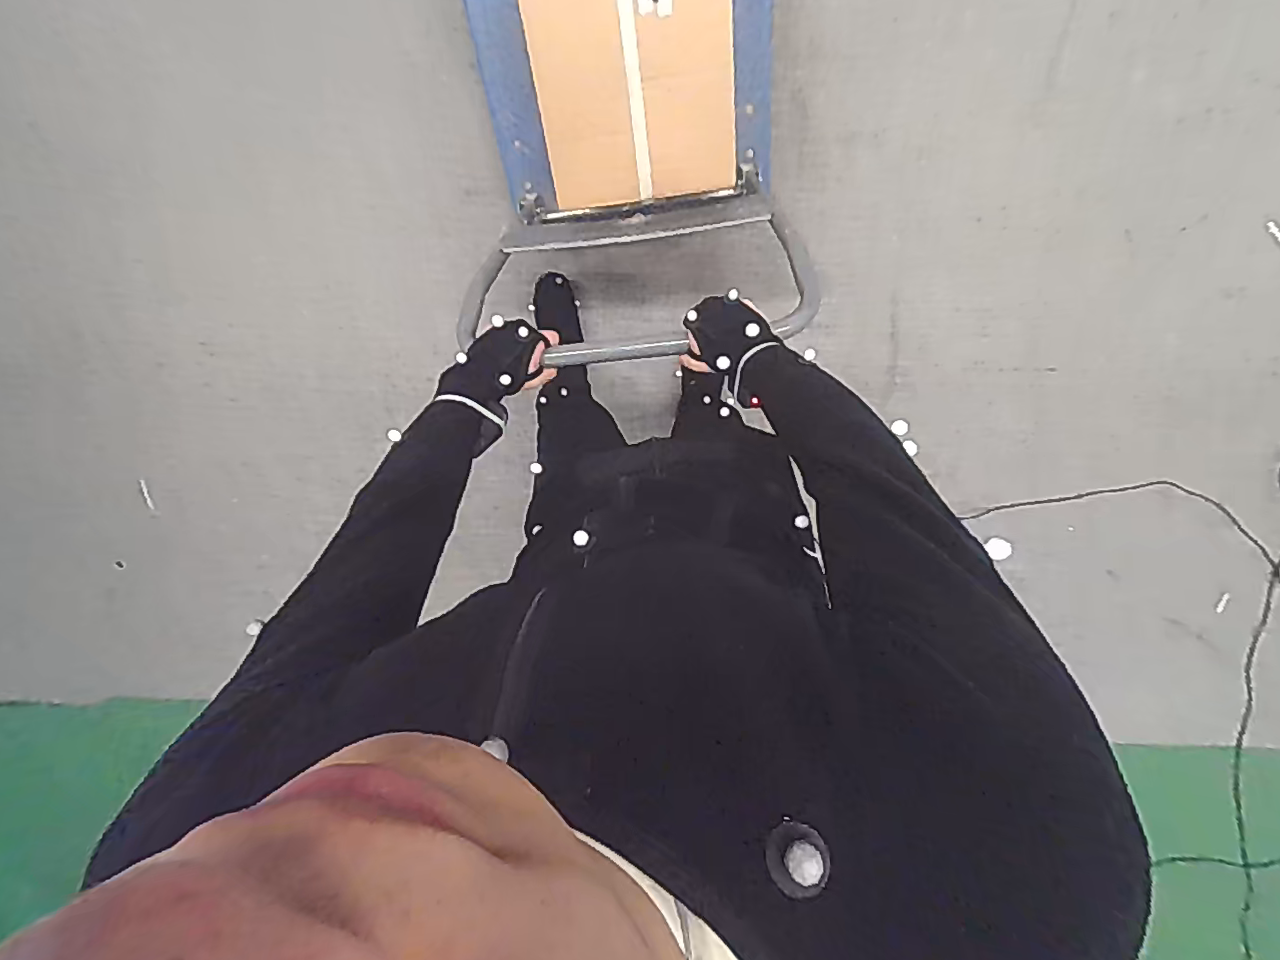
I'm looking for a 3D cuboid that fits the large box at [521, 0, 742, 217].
[{"bbox_3d":[-0.001,-0.723,0.945,0.320,0.320,0.408,-5,125,5],"label":"large box"}]
